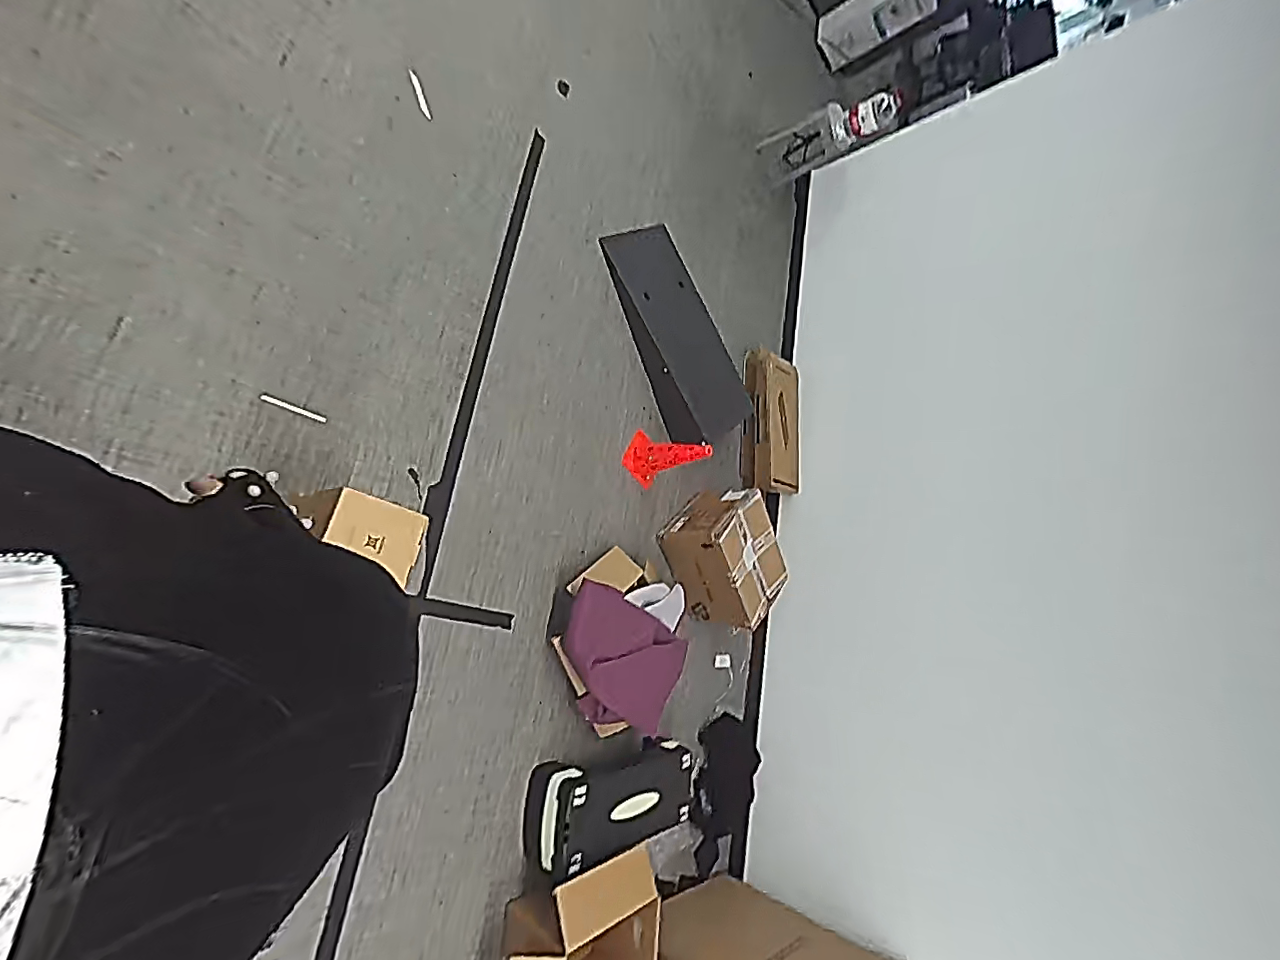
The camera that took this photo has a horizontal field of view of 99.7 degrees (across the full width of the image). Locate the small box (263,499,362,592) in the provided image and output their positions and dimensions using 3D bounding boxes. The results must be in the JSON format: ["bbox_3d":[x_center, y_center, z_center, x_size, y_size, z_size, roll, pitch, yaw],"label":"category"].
[{"bbox_3d":[-0.685,0.141,1.191,0.179,0.176,0.168,30,64,-42],"label":"small box"}]

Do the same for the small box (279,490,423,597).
[{"bbox_3d":[-0.573,0.127,1.074,0.179,0.176,0.168,30,64,-42],"label":"small box"}]

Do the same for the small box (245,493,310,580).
[{"bbox_3d":[-0.810,0.143,1.299,0.168,0.176,0.179,31,65,-42],"label":"small box"}]
